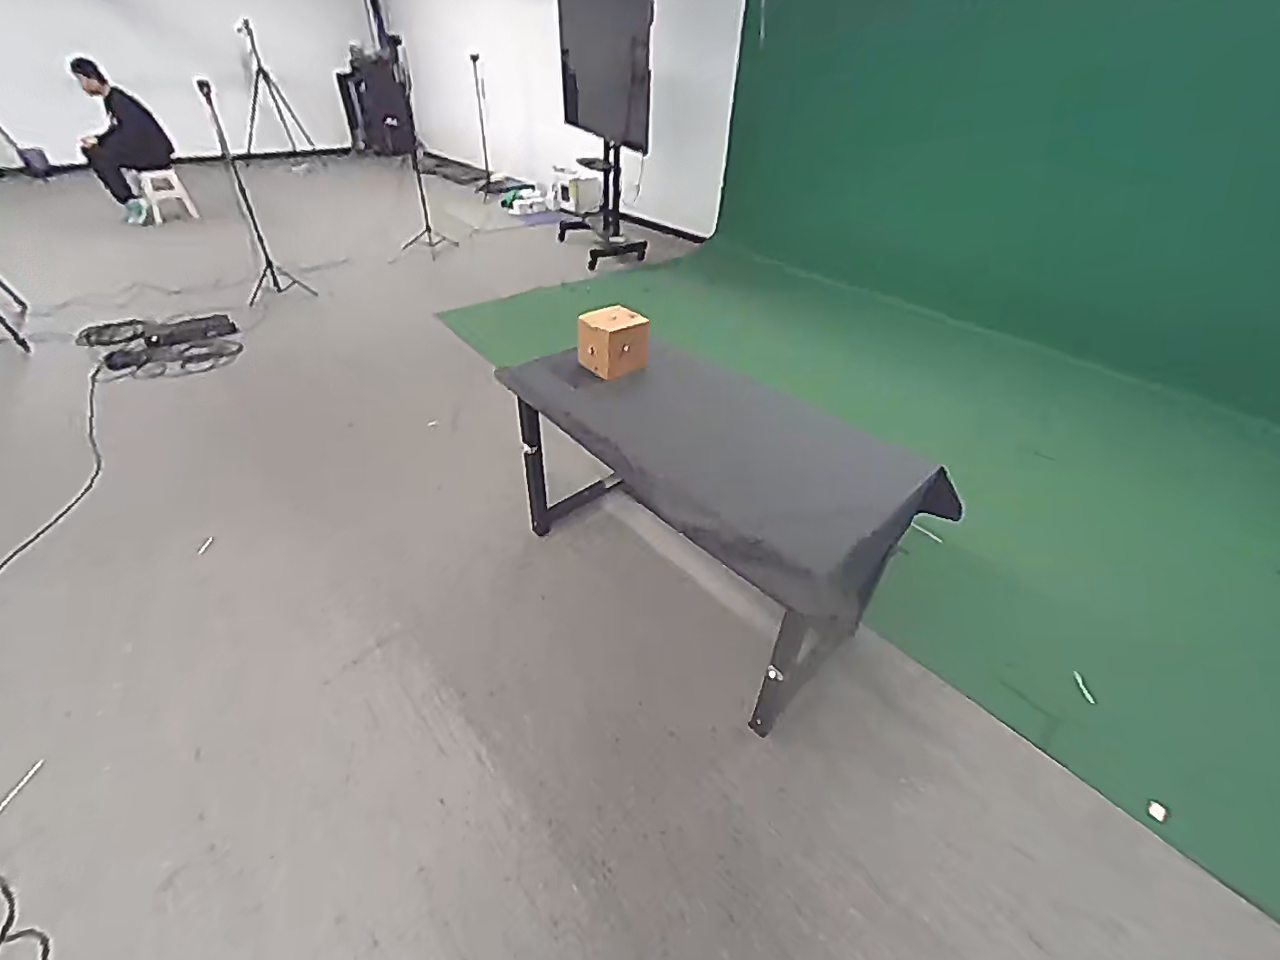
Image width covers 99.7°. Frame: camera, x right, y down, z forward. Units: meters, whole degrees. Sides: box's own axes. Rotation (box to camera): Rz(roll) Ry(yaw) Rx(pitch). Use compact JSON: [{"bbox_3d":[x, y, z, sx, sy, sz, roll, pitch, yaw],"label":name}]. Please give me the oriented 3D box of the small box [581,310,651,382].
[{"bbox_3d":[-0.081,-0.450,1.820,0.179,0.176,0.168,-27,48,-32],"label":"small box"}]
